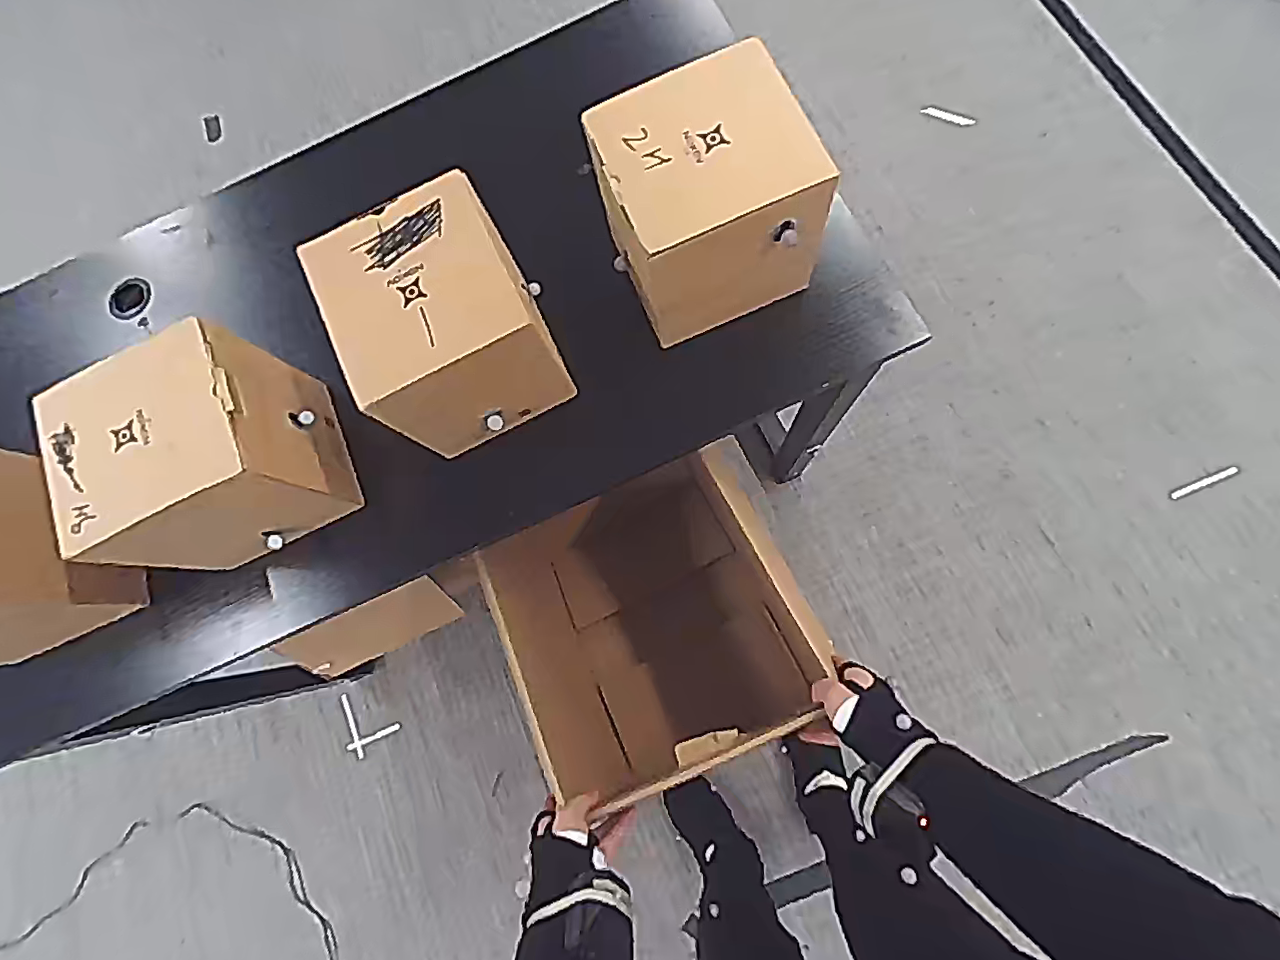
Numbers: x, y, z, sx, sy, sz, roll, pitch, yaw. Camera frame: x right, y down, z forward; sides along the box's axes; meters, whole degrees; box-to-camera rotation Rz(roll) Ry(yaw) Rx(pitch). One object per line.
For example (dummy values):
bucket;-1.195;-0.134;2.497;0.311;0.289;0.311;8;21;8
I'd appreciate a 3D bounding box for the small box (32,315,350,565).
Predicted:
small box;-0.425;-0.026;0.543;0.179;0.176;0.168;-26;76;0

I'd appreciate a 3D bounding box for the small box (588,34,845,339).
small box;0.069;-0.272;0.536;0.179;0.176;0.168;-22;75;2

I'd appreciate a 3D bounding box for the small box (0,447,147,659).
small box;-0.665;0.082;0.547;0.179;0.176;0.168;-23;77;0

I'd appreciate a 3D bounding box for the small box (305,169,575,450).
small box;-0.185;-0.155;0.543;0.168;0.176;0.179;-26;76;1
